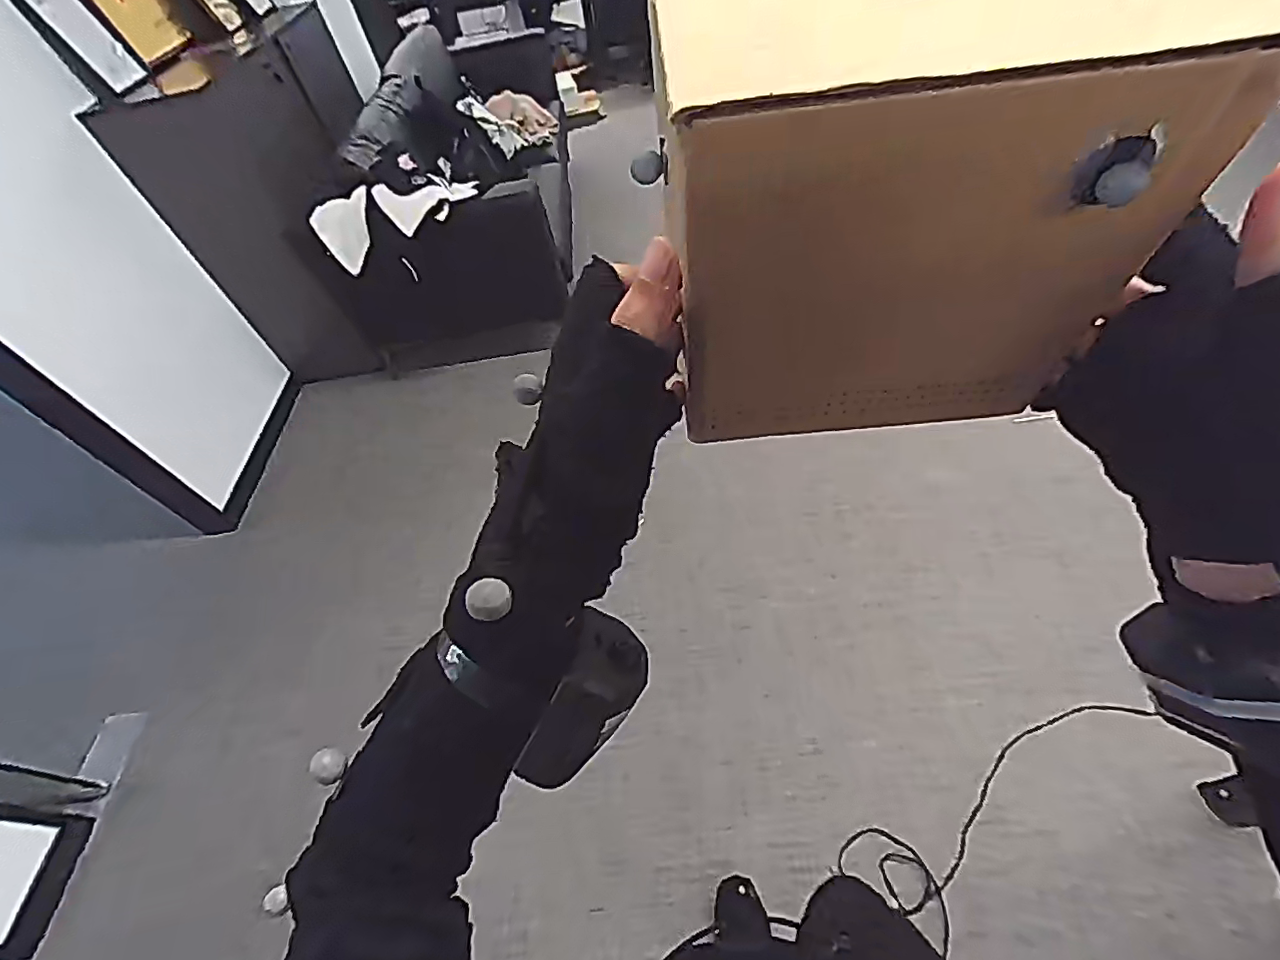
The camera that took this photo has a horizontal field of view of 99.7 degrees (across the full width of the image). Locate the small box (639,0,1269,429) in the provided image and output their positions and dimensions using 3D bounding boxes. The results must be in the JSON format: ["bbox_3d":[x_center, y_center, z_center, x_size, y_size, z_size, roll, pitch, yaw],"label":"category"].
[{"bbox_3d":[0.097,-0.139,0.266,0.179,0.176,0.168,-5,59,3],"label":"small box"}]
